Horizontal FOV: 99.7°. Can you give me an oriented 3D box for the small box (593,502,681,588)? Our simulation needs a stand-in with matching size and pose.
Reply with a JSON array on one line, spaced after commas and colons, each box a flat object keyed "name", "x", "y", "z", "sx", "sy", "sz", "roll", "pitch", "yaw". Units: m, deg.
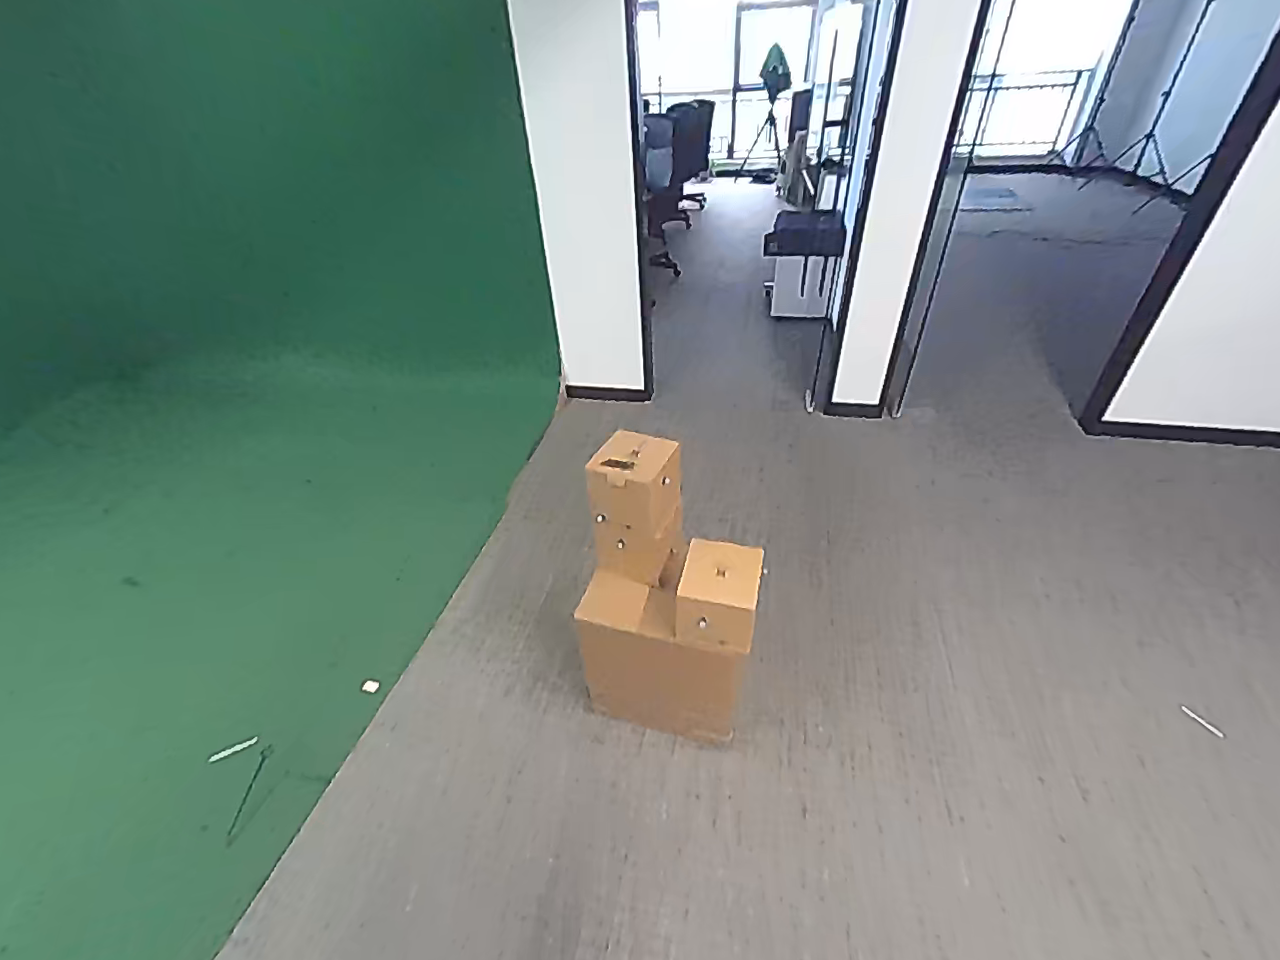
[{"name": "small box", "x": -0.004, "y": 0.151, "z": 1.391, "sx": 0.179, "sy": 0.176, "sz": 0.168, "roll": 14, "pitch": 41, "yaw": 19}]

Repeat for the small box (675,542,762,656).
[{"name": "small box", "x": 0.179, "y": 0.269, "z": 1.222, "sx": 0.168, "sy": 0.176, "sz": 0.179, "roll": 8, "pitch": 39, "yaw": 14}]

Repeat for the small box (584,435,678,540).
[{"name": "small box", "x": -0.013, "y": 0.018, "z": 1.293, "sx": 0.168, "sy": 0.176, "sz": 0.179, "roll": 14, "pitch": 39, "yaw": 21}]
